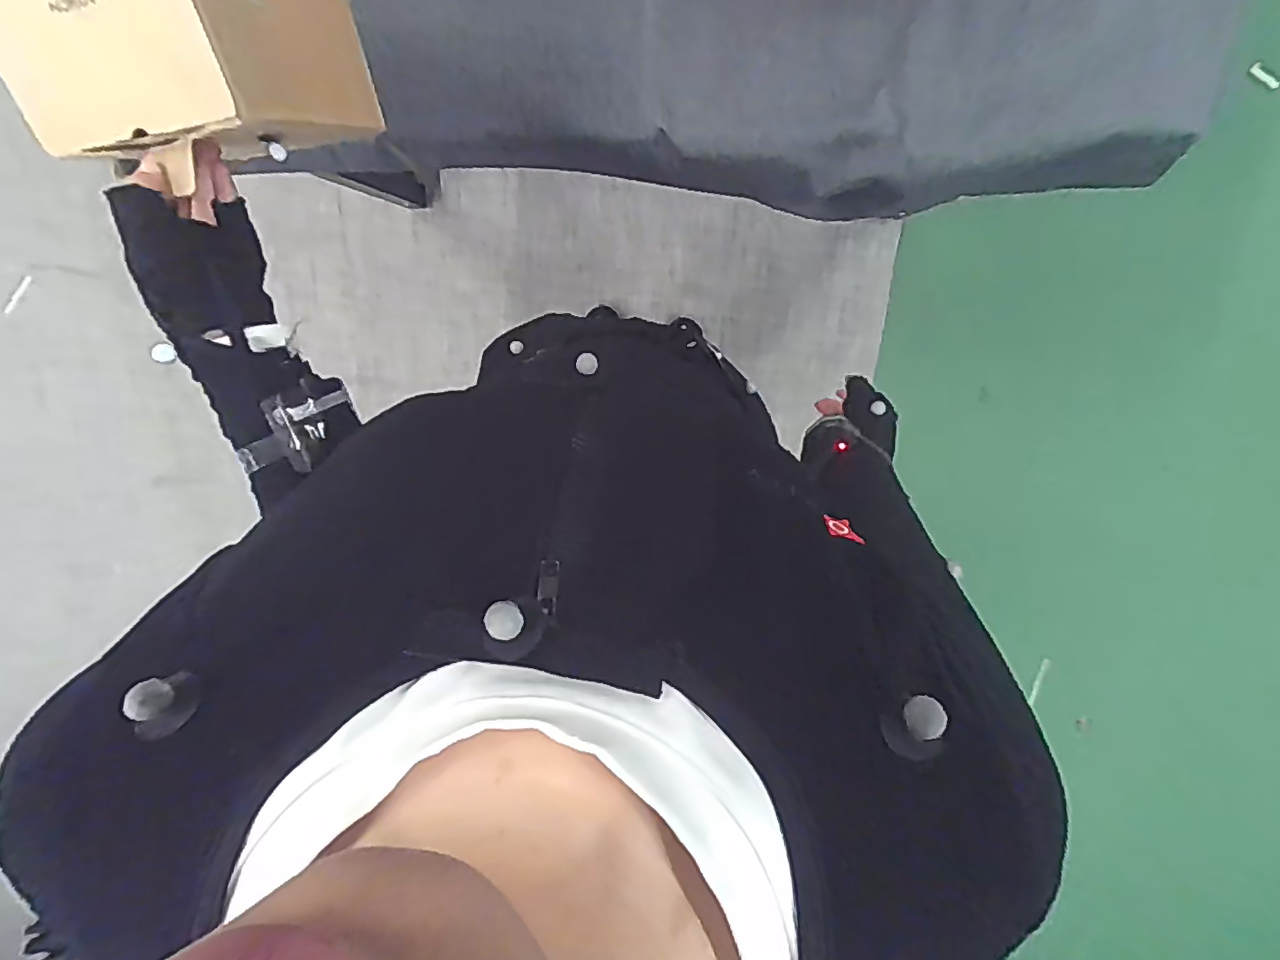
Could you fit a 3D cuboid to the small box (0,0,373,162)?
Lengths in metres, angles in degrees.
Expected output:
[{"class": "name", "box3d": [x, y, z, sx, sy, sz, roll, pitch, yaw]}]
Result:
[{"class": "small box", "box3d": [-0.327, -0.338, 0.381, 0.168, 0.176, 0.179, -2, 120, 12]}]
